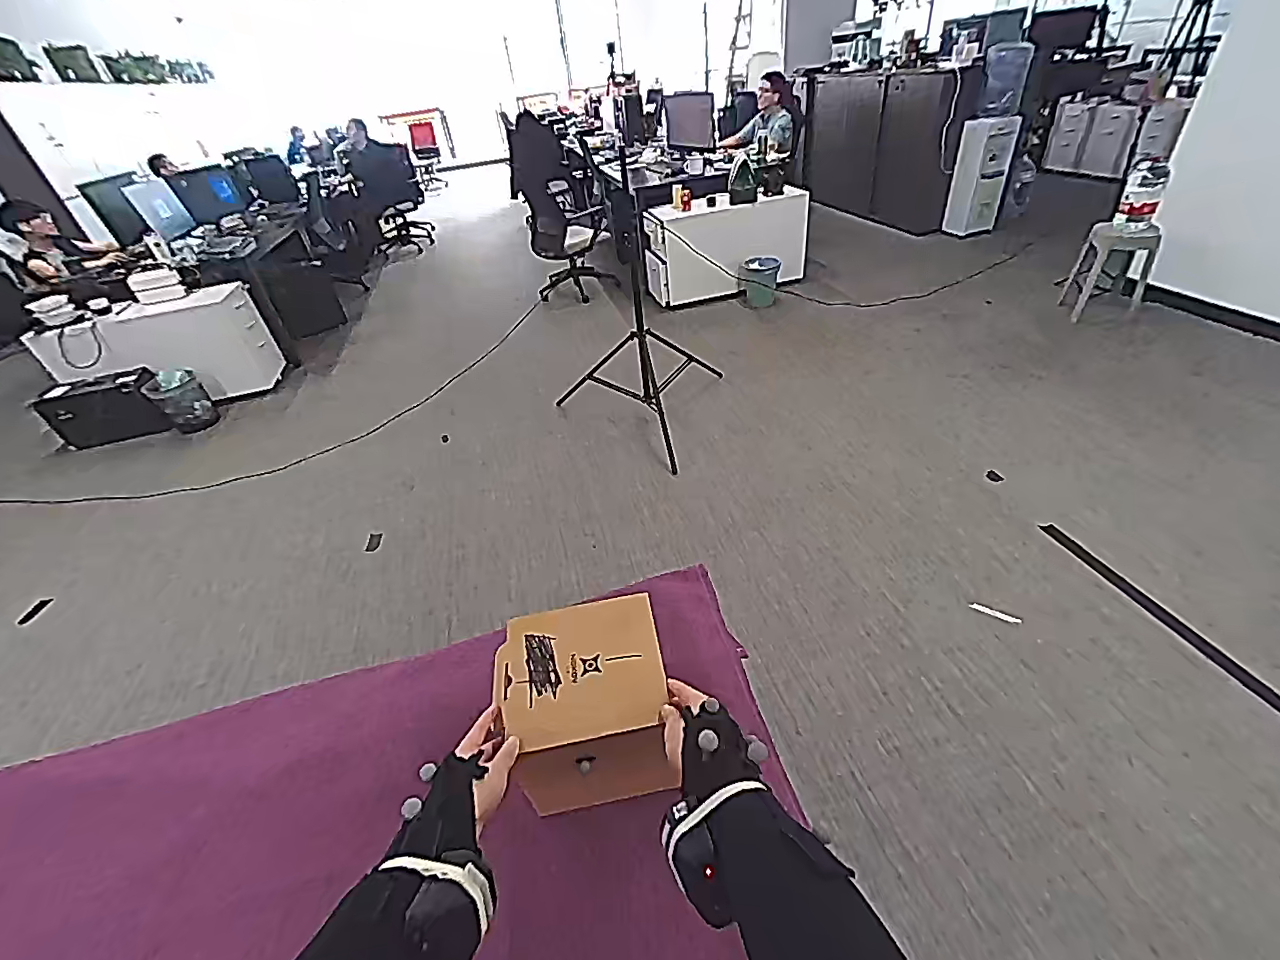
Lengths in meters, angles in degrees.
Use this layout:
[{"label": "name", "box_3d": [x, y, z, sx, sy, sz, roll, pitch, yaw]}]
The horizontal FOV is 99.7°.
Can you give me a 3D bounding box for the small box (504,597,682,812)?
[{"label": "small box", "box_3d": [-0.053, 0.271, 0.650, 0.179, 0.176, 0.168, -10, 40, -3]}]
